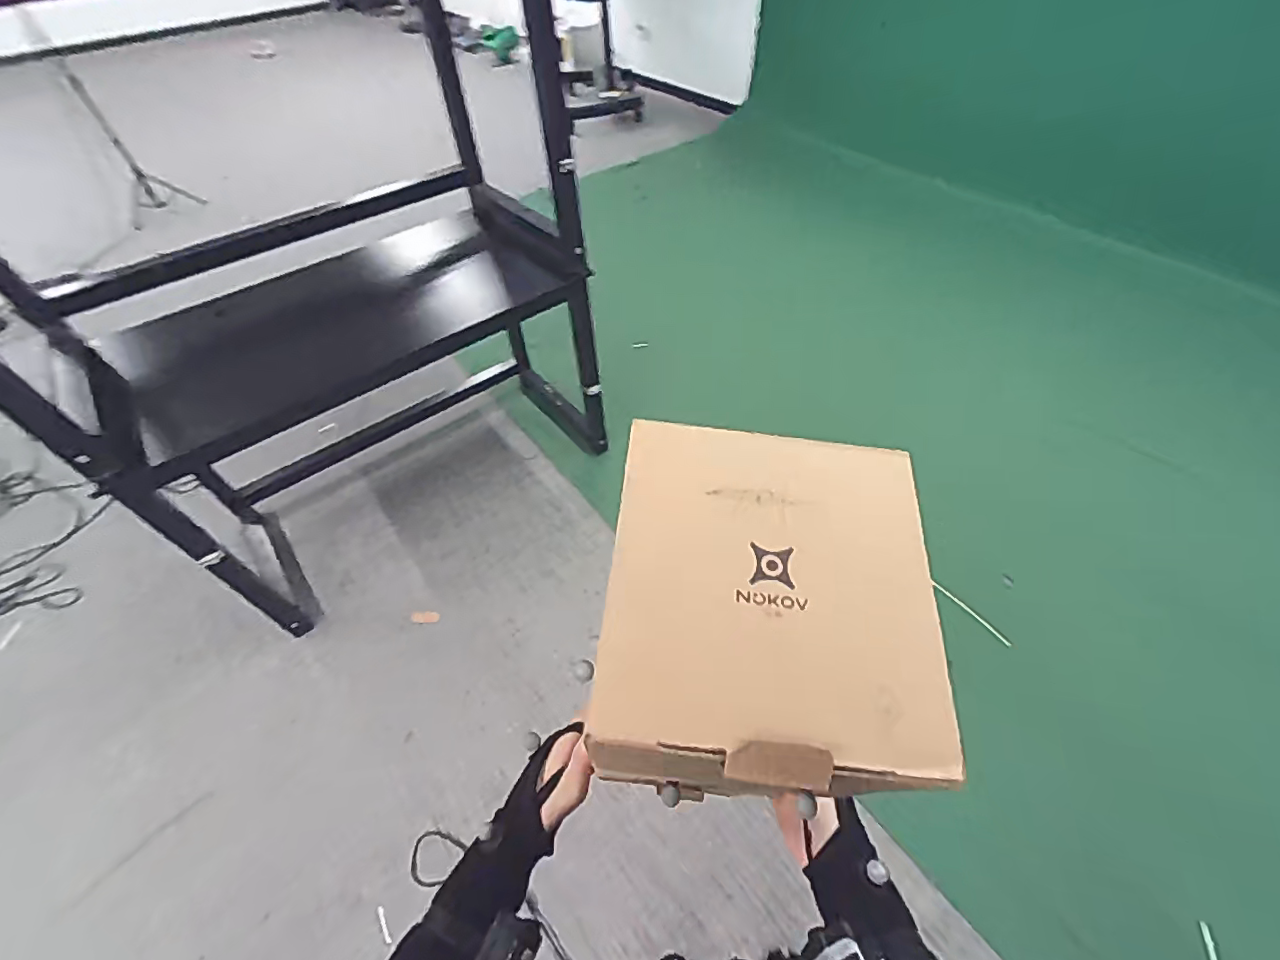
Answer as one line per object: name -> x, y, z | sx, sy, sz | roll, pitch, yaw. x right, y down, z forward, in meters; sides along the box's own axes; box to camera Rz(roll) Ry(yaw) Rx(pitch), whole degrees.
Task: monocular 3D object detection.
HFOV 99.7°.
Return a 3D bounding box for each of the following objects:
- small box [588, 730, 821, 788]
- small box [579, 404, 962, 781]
small box -> 0.048, 0.166, 0.477 | 0.168, 0.176, 0.179 | 5, 58, -1
small box -> 0.060, 0.080, 0.339 | 0.168, 0.176, 0.179 | 7, 57, 0
